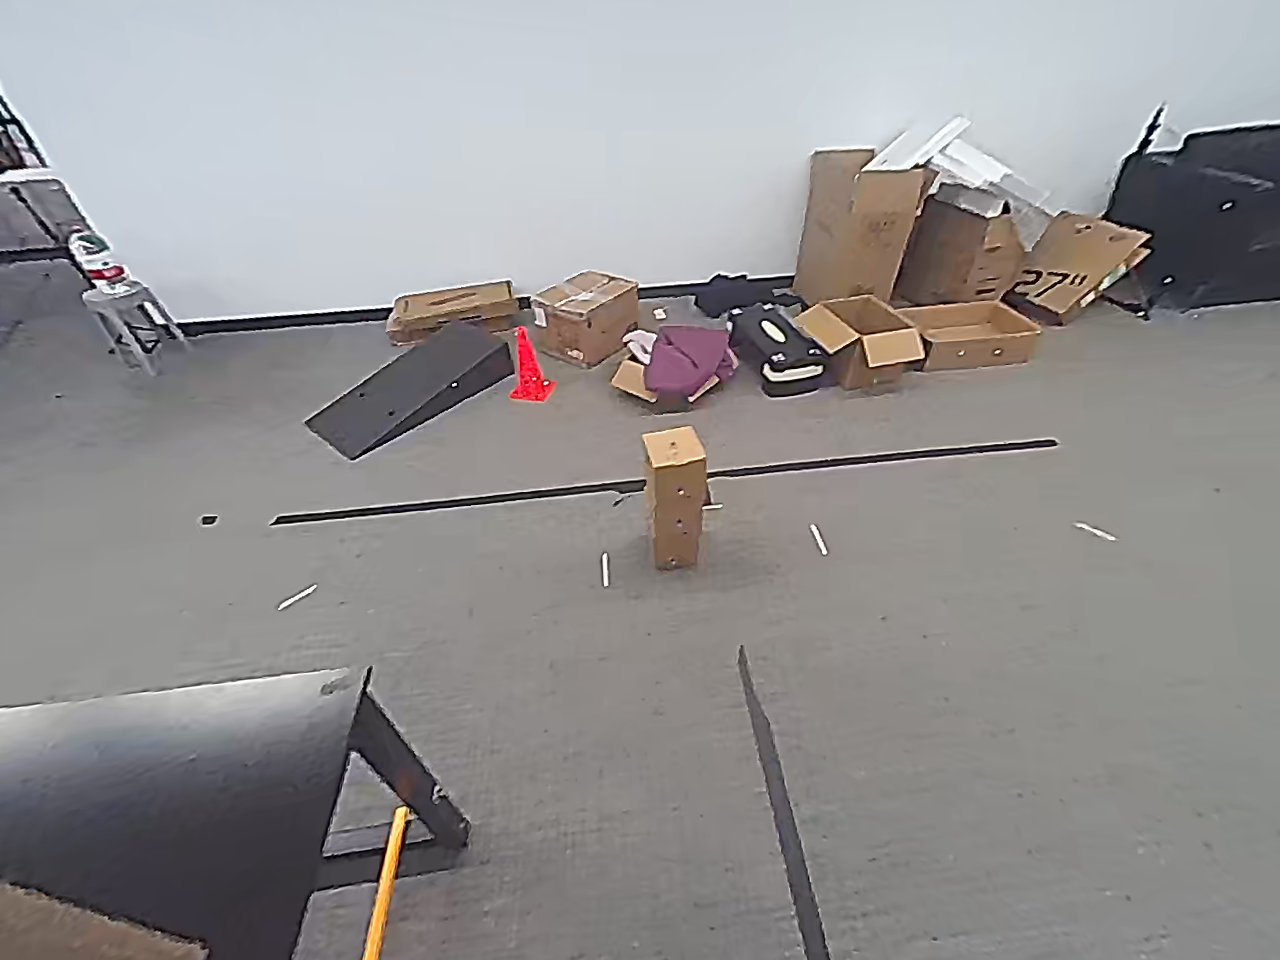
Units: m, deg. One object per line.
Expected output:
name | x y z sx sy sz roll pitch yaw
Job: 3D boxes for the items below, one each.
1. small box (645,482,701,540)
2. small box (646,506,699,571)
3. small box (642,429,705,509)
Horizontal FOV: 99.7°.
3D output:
small box | 0.112 0.090 1.830 0.168 0.176 0.179 -7 41 -3
small box | 0.113 0.203 1.950 0.168 0.176 0.179 -8 42 -4
small box | 0.103 -0.035 1.721 0.168 0.176 0.179 -11 41 -7
